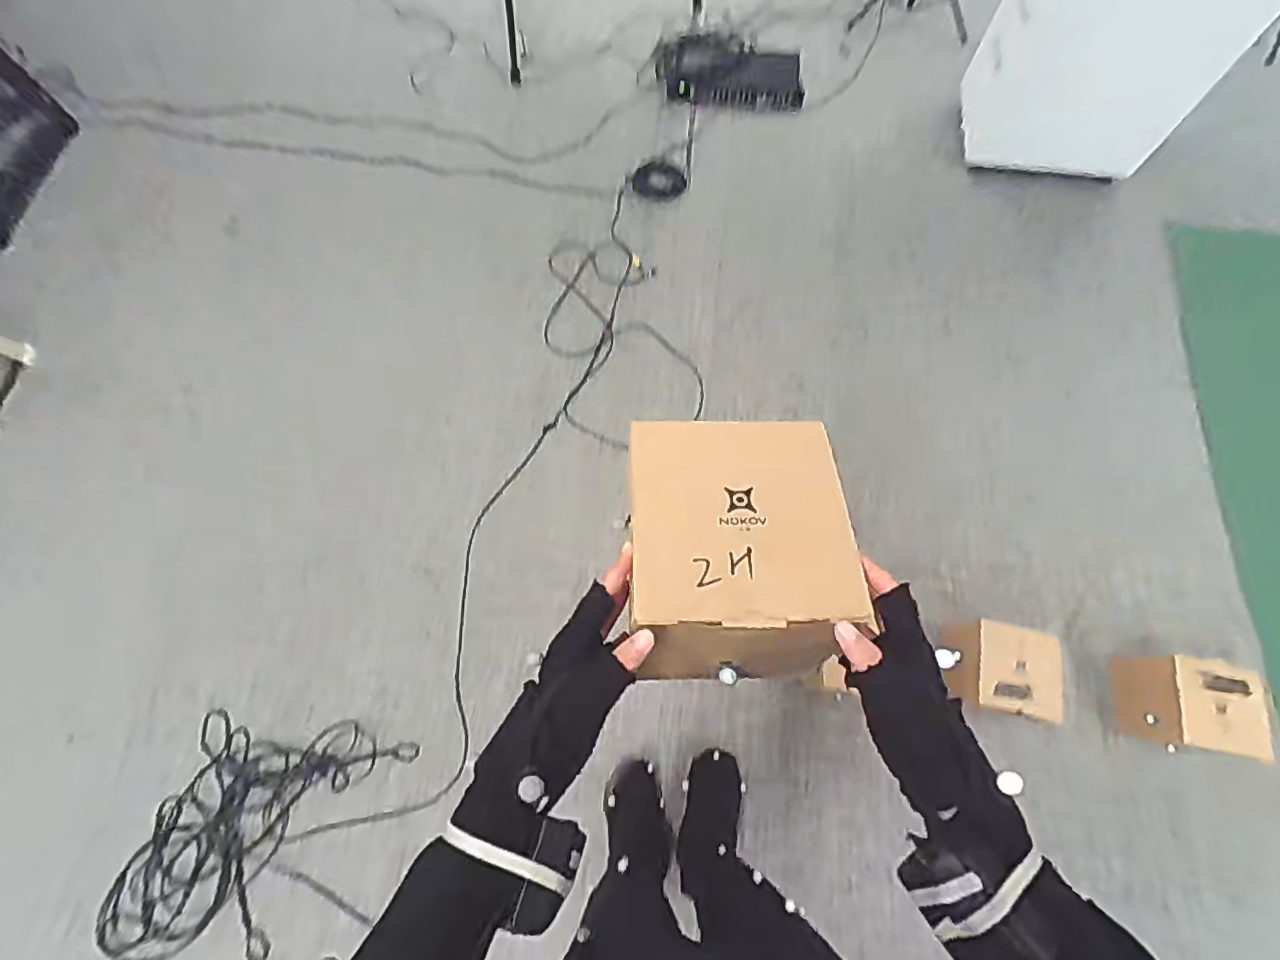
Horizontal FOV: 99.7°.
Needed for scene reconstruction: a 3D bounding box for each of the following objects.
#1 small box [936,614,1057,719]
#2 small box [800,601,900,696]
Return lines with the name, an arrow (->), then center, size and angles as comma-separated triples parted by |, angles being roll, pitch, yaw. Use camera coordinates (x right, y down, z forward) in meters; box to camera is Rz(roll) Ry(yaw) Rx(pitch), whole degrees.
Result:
small box -> 0.776, 0.411, 1.190 | 0.168, 0.176, 0.179 | 13, 70, 6
small box -> 0.463, 0.380, 1.211 | 0.168, 0.176, 0.179 | 6, 70, 4
